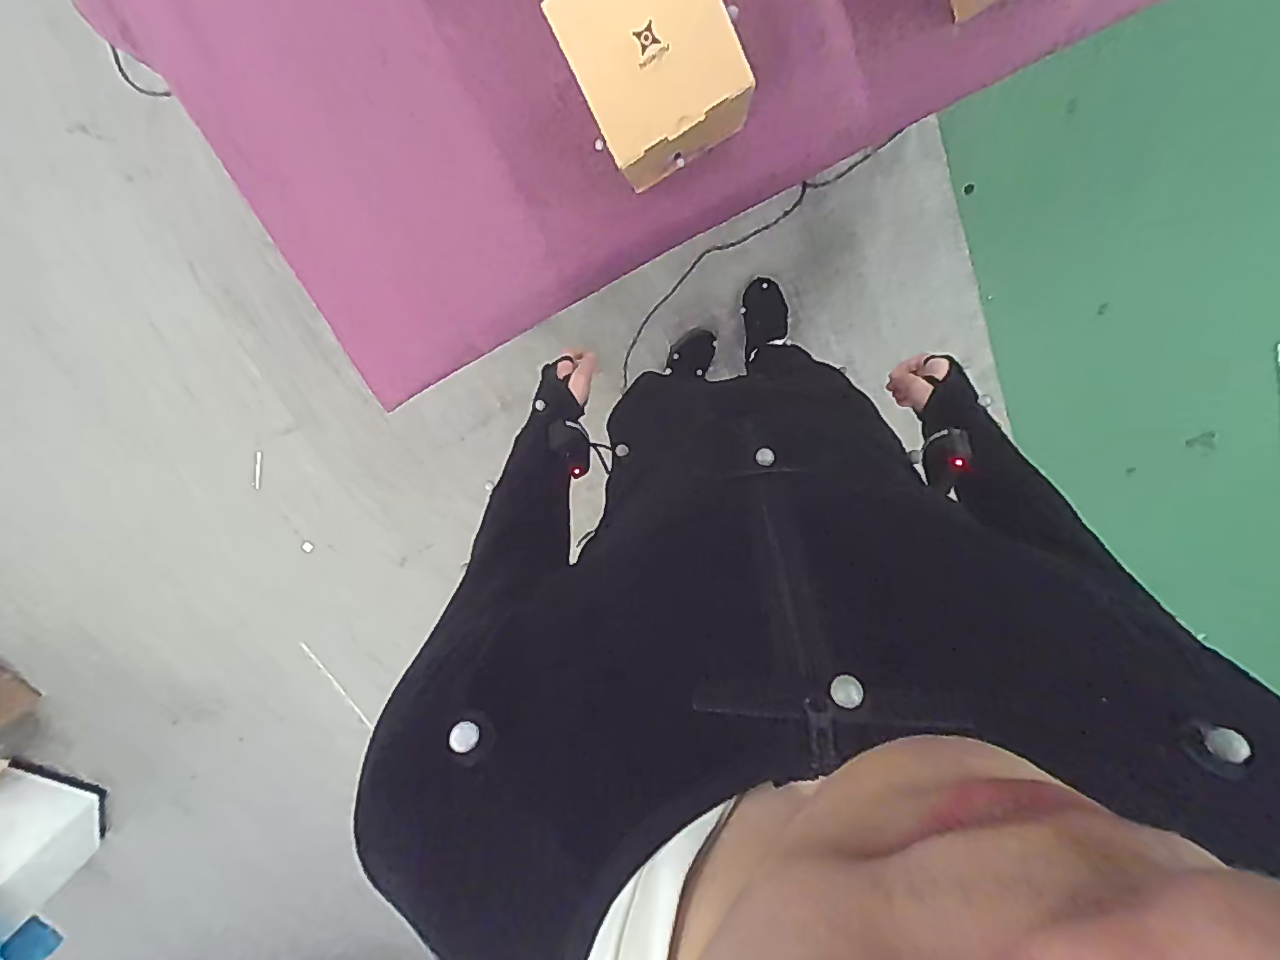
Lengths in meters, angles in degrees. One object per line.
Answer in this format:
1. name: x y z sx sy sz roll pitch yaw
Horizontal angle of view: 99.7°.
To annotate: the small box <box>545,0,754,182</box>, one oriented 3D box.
1. small box: 0.016 -0.486 0.635 0.168 0.176 0.179 -26 106 14
